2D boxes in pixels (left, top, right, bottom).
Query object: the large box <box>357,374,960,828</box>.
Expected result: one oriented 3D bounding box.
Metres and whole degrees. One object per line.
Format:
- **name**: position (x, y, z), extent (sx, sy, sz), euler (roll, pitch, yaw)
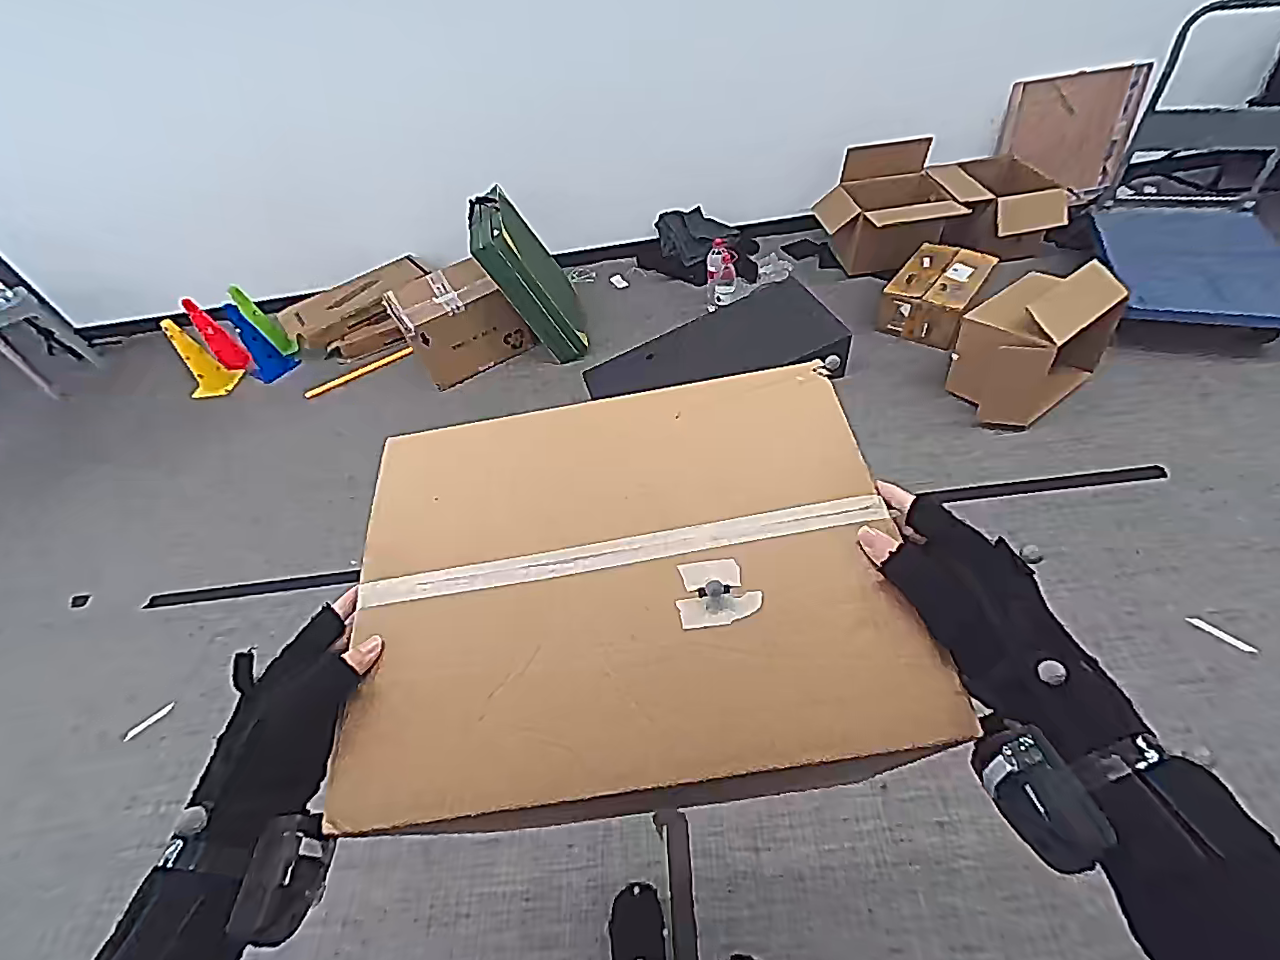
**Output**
- **large box**: position (0.006, 0.141, 0.550), extent (0.408, 0.320, 0.320), euler (-10, 57, 2)
